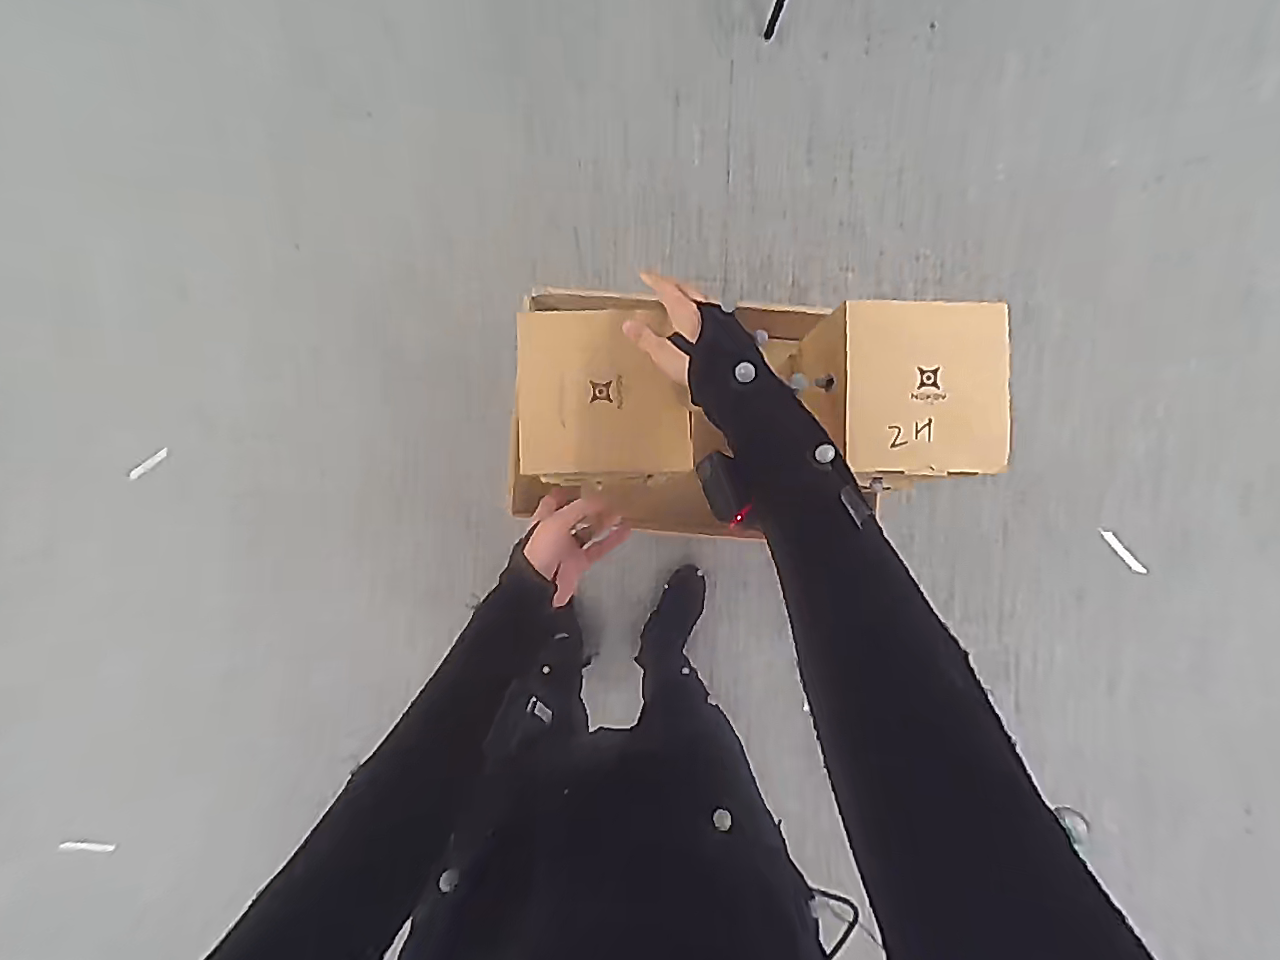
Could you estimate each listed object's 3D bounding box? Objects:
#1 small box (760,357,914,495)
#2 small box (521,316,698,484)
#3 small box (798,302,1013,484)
[{"bbox_3d":[0.274,-0.069,0.777,0.168,0.176,0.179,1,88,-1],"label":"small box"},{"bbox_3d":[-0.032,-0.080,0.615,0.179,0.176,0.168,-1,89,-1],"label":"small box"},{"bbox_3d":[0.284,-0.086,0.613,0.168,0.176,0.179,1,89,-1],"label":"small box"}]
